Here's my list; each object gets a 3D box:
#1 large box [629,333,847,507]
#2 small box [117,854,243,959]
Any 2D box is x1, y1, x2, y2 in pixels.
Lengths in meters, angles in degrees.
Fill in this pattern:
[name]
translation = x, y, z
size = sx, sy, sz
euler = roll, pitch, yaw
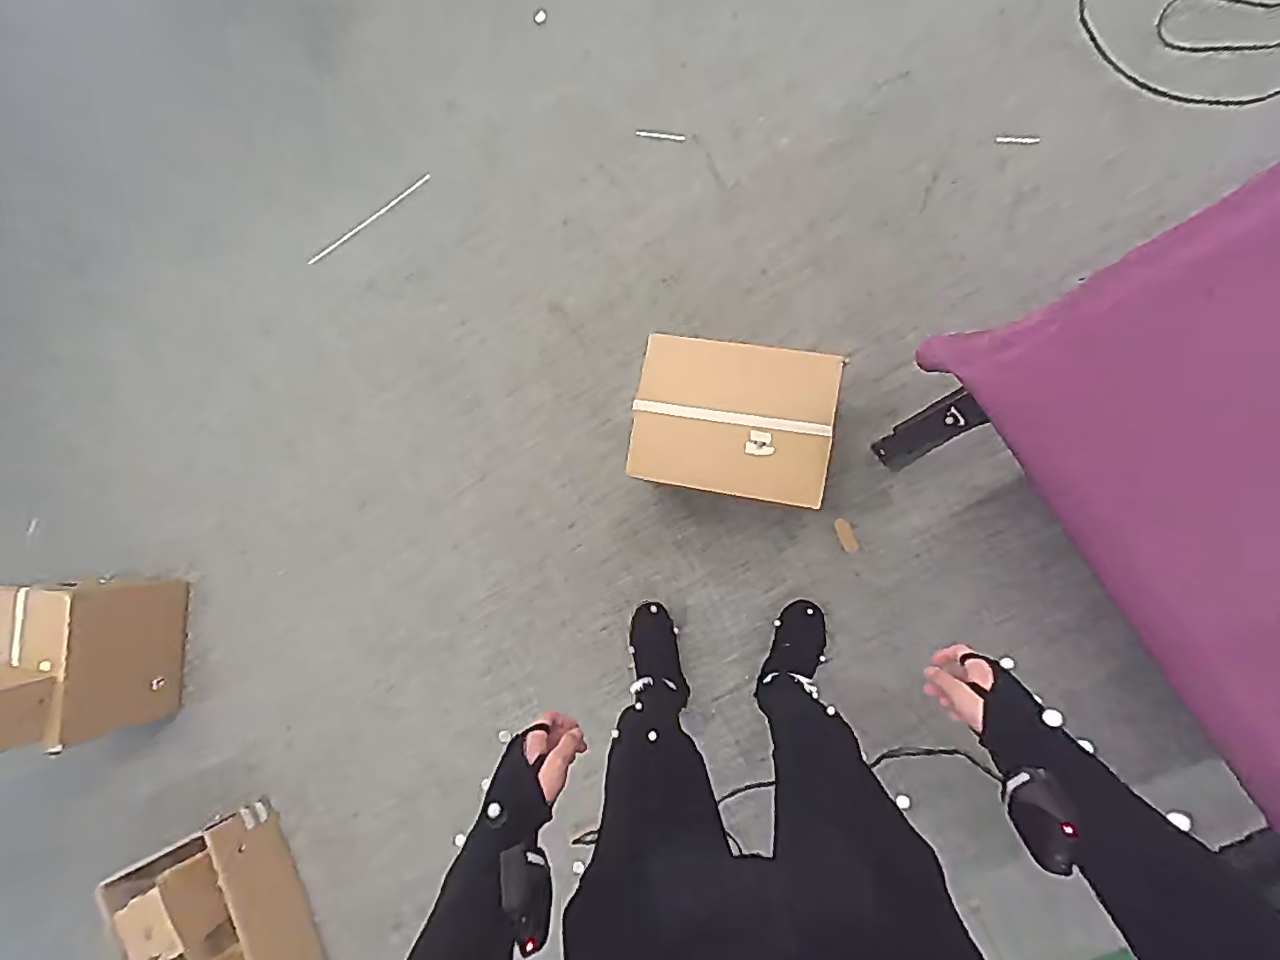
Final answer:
[large box]
translation = 0.216, -0.121, 1.239
size = 0.408, 0.320, 0.320
euler = 10, 89, 11
[small box]
translation = -1.233, 1.157, 1.460
size = 0.168, 0.176, 0.179
euler = -34, 81, 7
